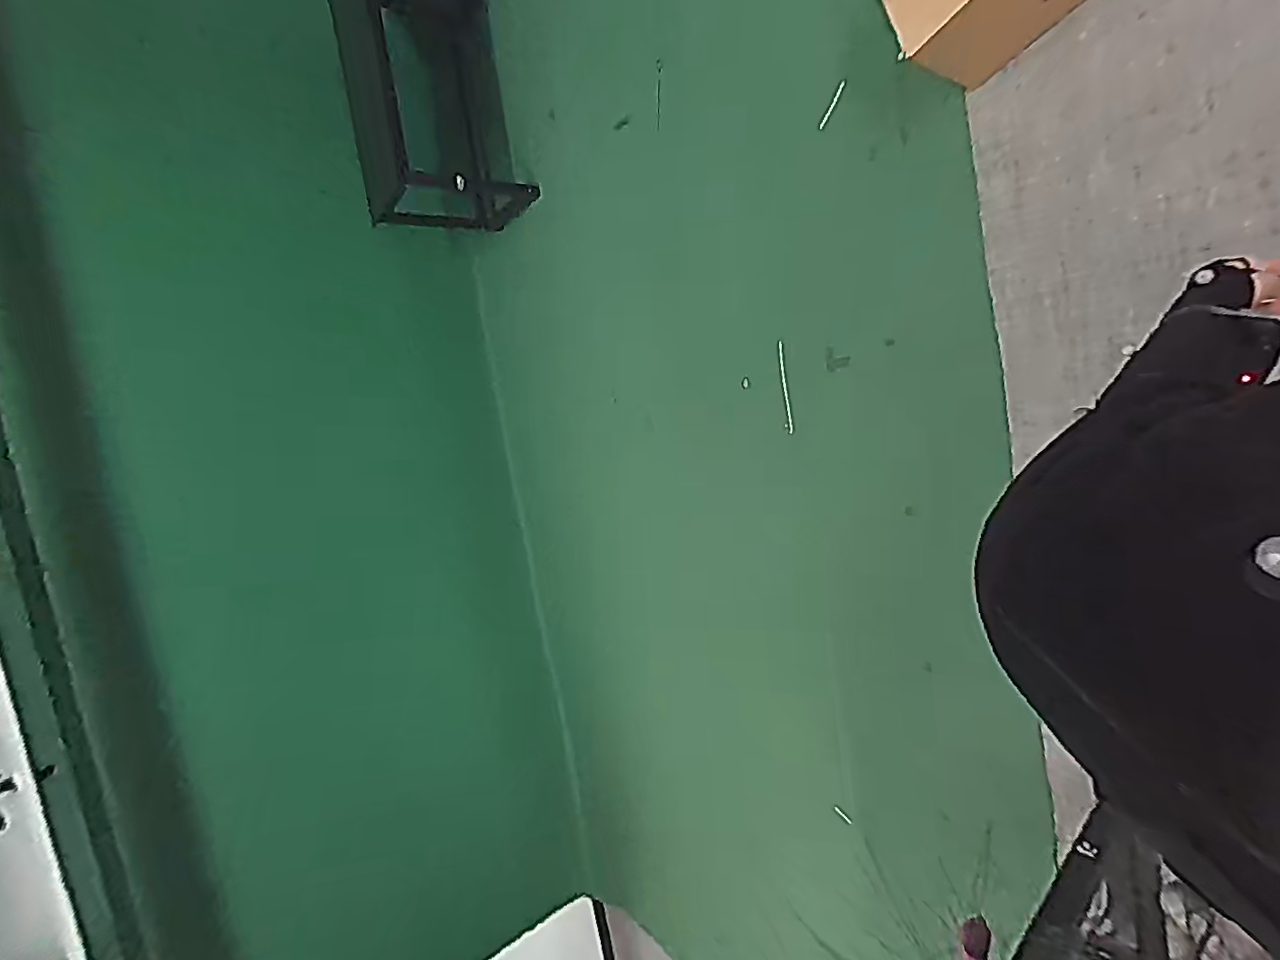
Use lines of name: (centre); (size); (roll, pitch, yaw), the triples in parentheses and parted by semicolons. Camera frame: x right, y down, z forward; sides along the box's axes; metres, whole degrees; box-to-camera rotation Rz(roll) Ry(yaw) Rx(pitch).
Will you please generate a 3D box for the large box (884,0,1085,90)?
large box: (0.734, -1.084, 1.054); (0.408, 0.320, 0.320); (-28, 77, 55)
